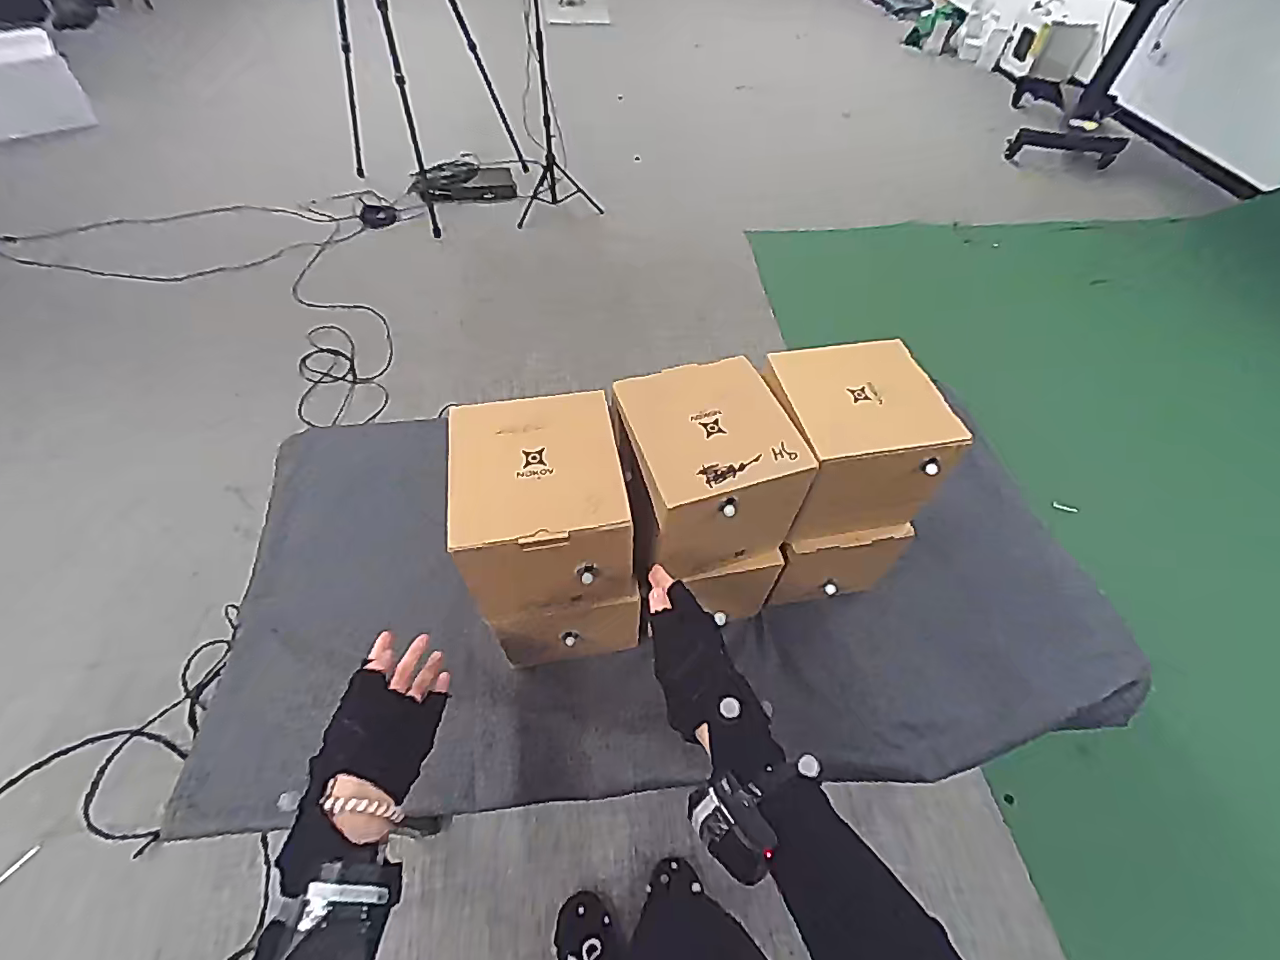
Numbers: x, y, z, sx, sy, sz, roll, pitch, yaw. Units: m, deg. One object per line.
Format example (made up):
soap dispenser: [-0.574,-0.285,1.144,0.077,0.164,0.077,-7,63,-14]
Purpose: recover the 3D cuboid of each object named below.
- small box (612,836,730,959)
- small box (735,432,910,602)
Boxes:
small box: [0.062,0.874,1.073,0.168,0.176,0.179,10,19,43]
small box: [0.248,0.055,0.791,0.168,0.176,0.179,-8,55,-7]
